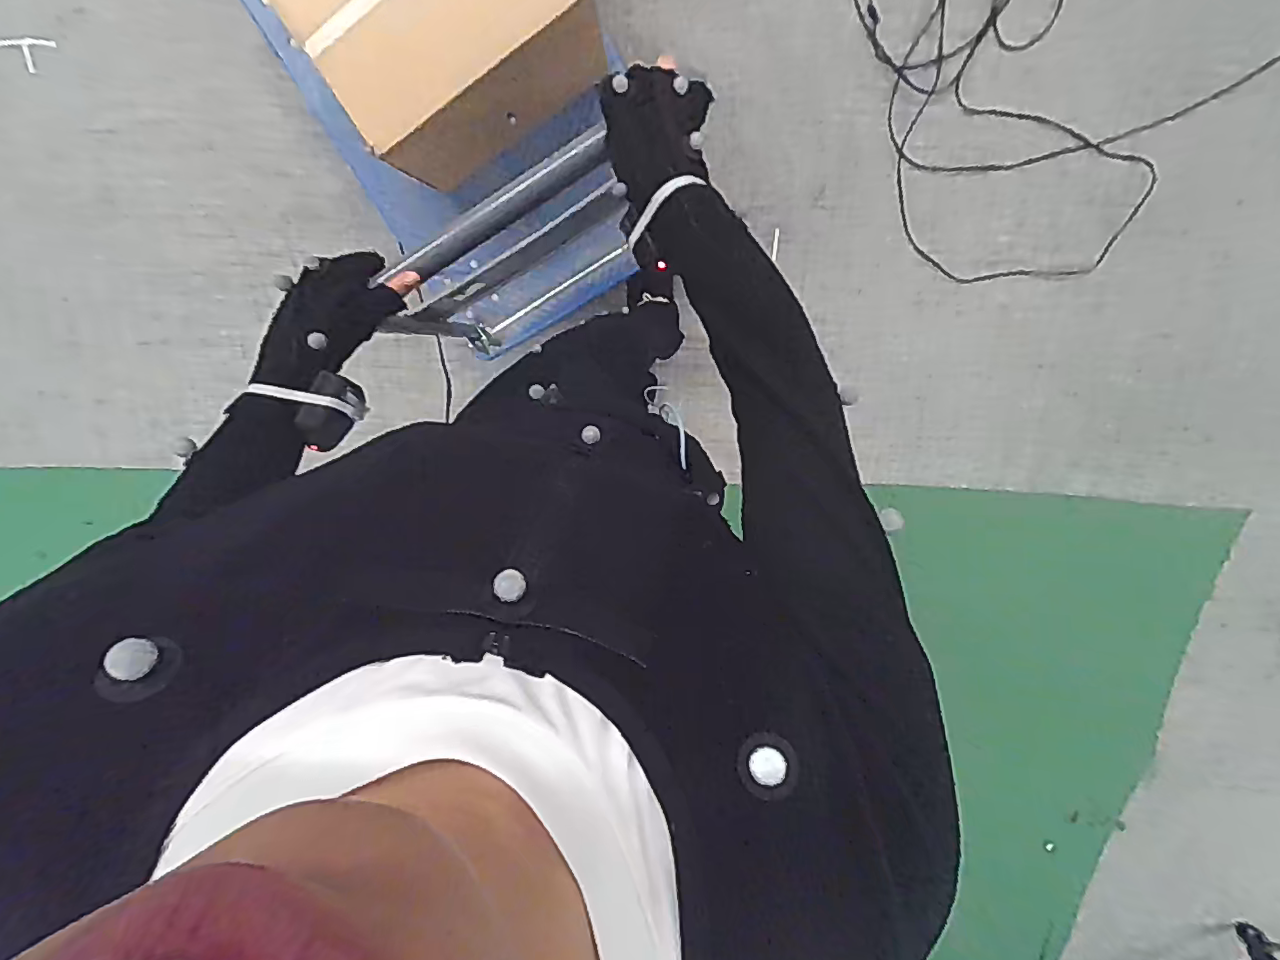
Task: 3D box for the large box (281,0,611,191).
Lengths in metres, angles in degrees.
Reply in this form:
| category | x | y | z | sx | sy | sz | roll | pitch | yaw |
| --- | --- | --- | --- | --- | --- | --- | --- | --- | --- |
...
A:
| category | x | y | z | sx | sy | sz | roll | pitch | yaw |
| --- | --- | --- | --- | --- | --- | --- | --- | --- | --- |
| large box | -0.303 | -0.775 | 0.919 | 0.408 | 0.320 | 0.320 | -30 | 104 | 11 |
